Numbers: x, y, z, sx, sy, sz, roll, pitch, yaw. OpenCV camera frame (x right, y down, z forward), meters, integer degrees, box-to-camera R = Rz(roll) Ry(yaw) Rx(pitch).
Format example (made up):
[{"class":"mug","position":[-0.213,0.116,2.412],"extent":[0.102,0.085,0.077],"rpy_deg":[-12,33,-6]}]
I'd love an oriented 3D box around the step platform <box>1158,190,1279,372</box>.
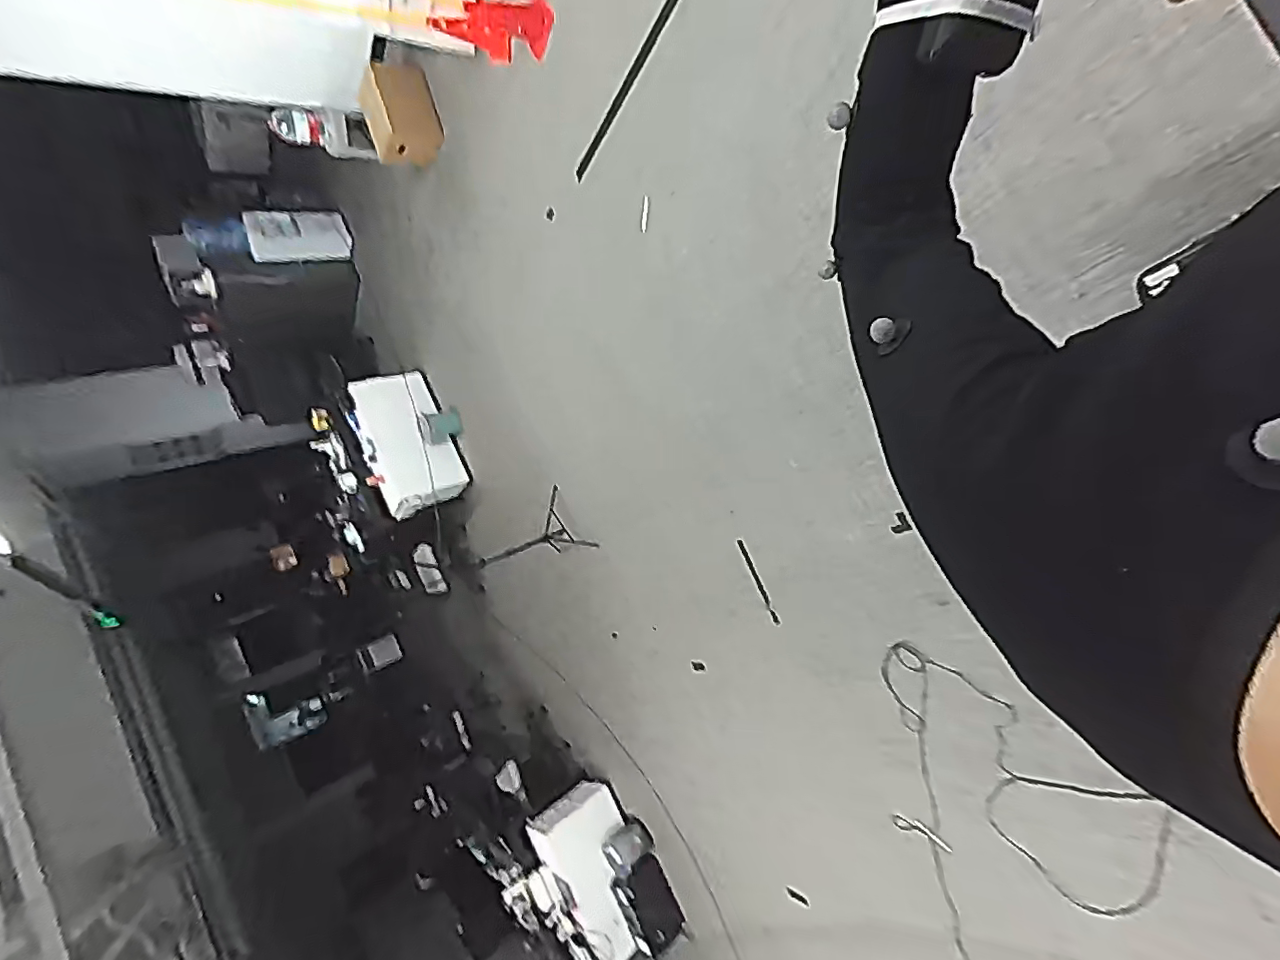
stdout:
[{"class":"step platform","position":[1.293,-0.456,0.849],"extent":[0.684,0.204,0.286],"rpy_deg":[-37,78,51]}]
